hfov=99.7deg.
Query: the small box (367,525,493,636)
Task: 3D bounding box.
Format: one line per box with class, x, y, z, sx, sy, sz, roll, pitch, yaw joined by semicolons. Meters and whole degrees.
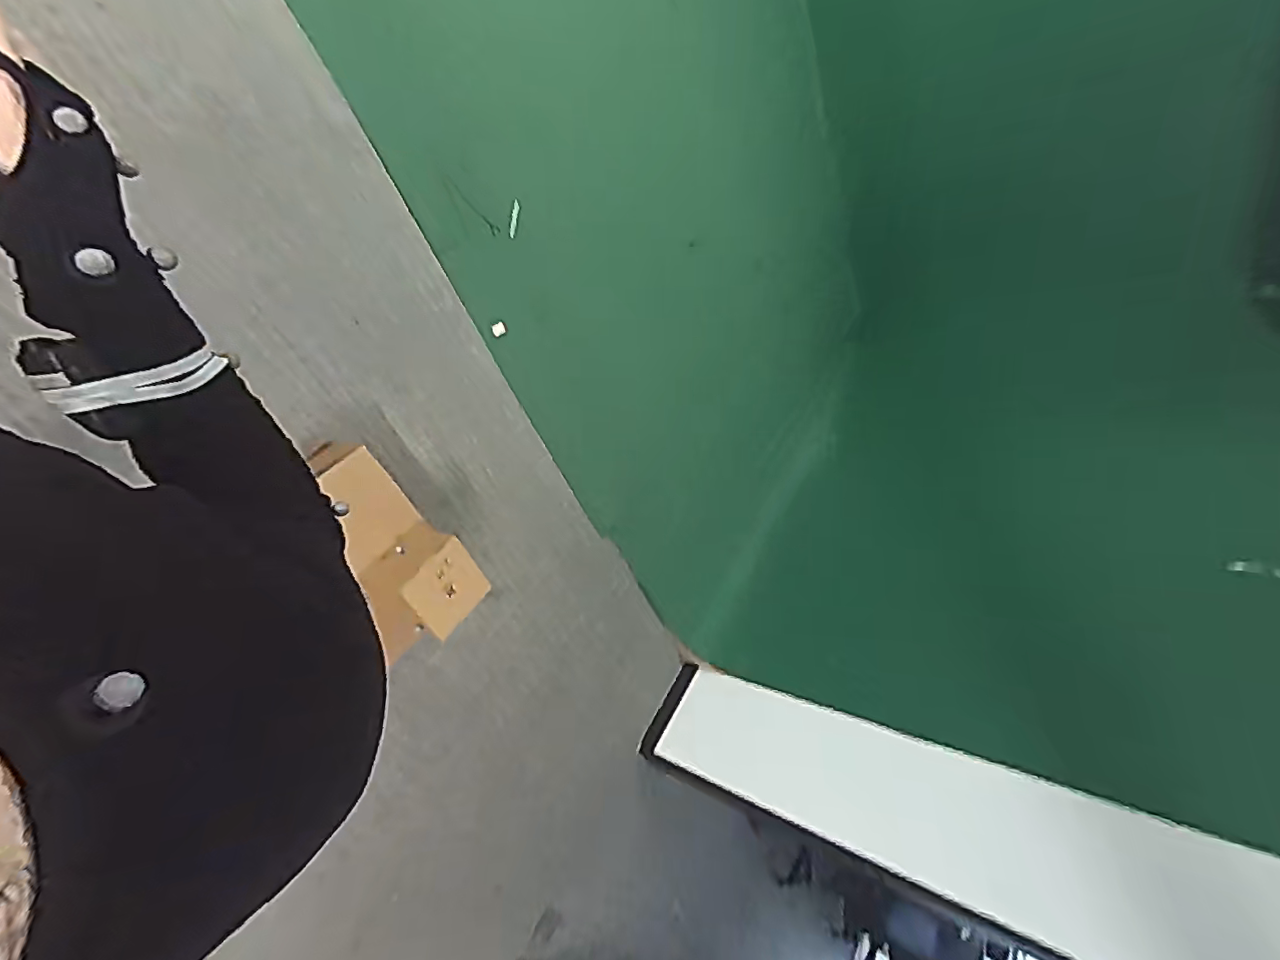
small box;-0.482;0.223;1.247;0.168;0.176;0.179;-51;132;-35
